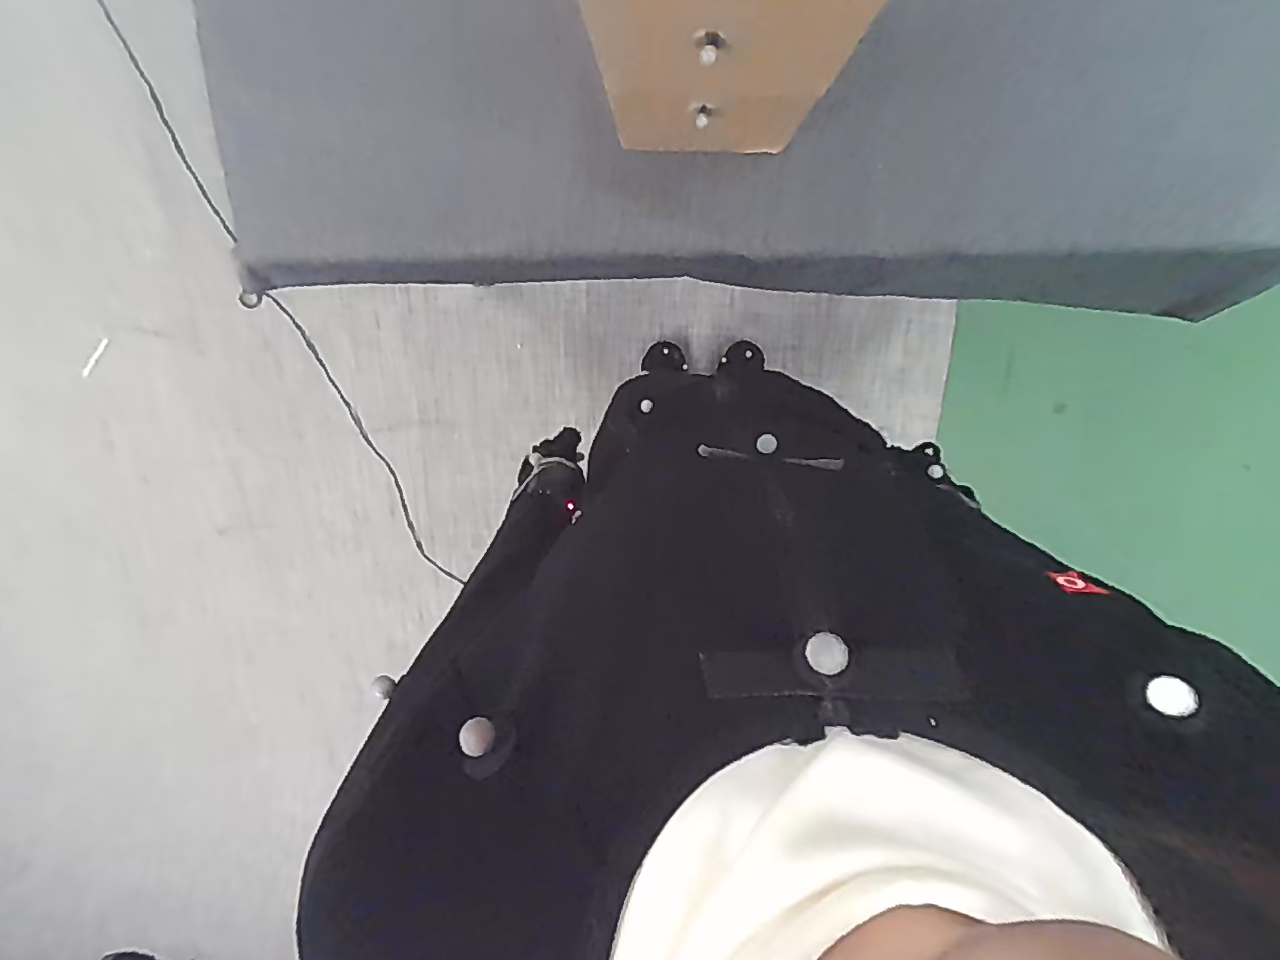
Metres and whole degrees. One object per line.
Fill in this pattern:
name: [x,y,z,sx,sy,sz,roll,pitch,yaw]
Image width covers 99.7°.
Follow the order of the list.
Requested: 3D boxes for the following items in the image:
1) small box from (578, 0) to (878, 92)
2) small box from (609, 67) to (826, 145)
small box: [0.057,-0.367,0.334,0.179,0.176,0.168,3,107,5]
small box: [0.069,-0.419,0.490,0.179,0.176,0.168,2,108,3]
